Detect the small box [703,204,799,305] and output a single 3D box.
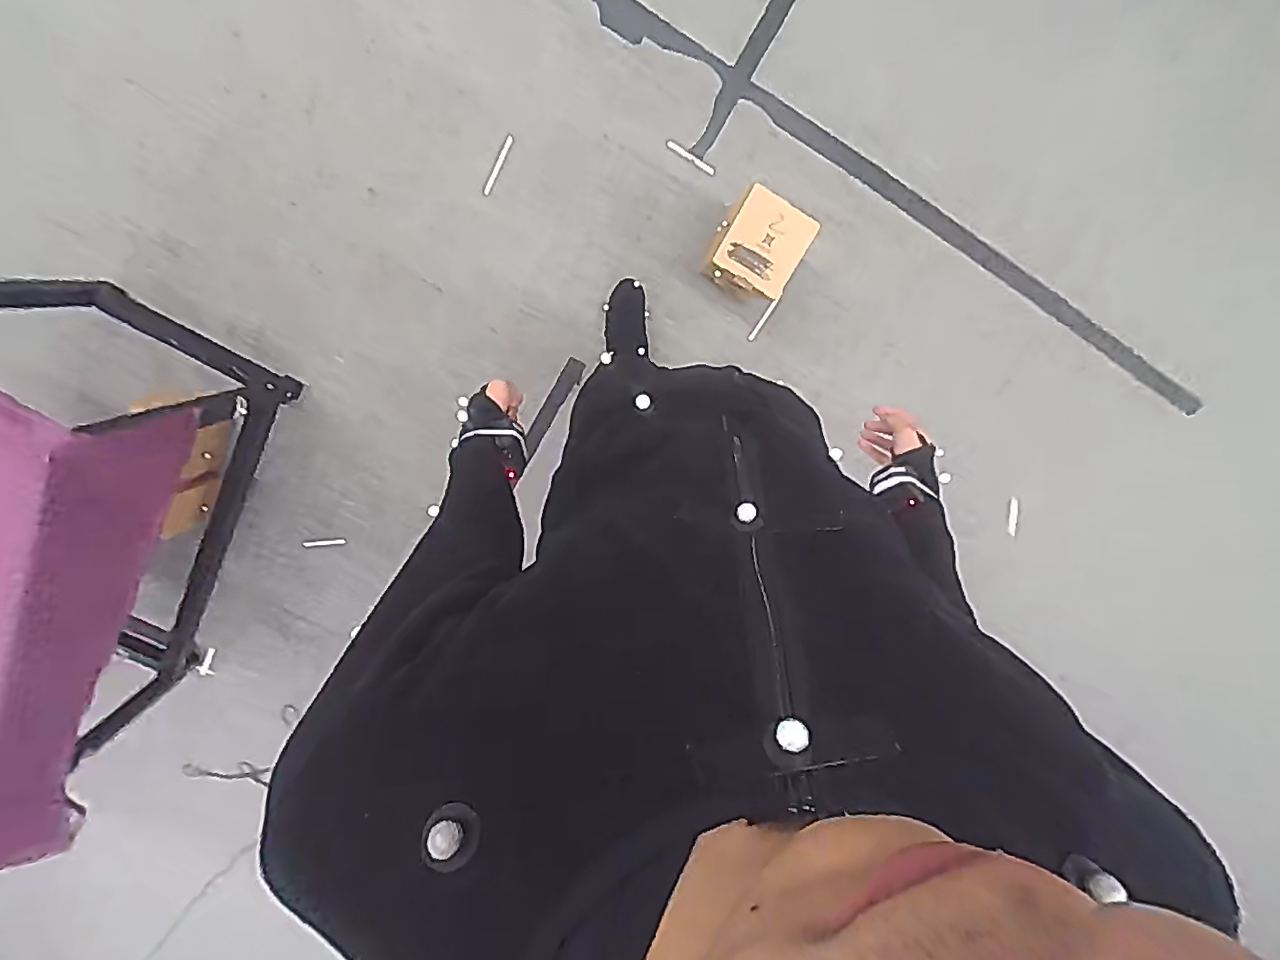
[{"bbox_3d":[0.270,-0.567,1.375,0.168,0.176,0.179,27,109,-8],"label":"small box"}]
